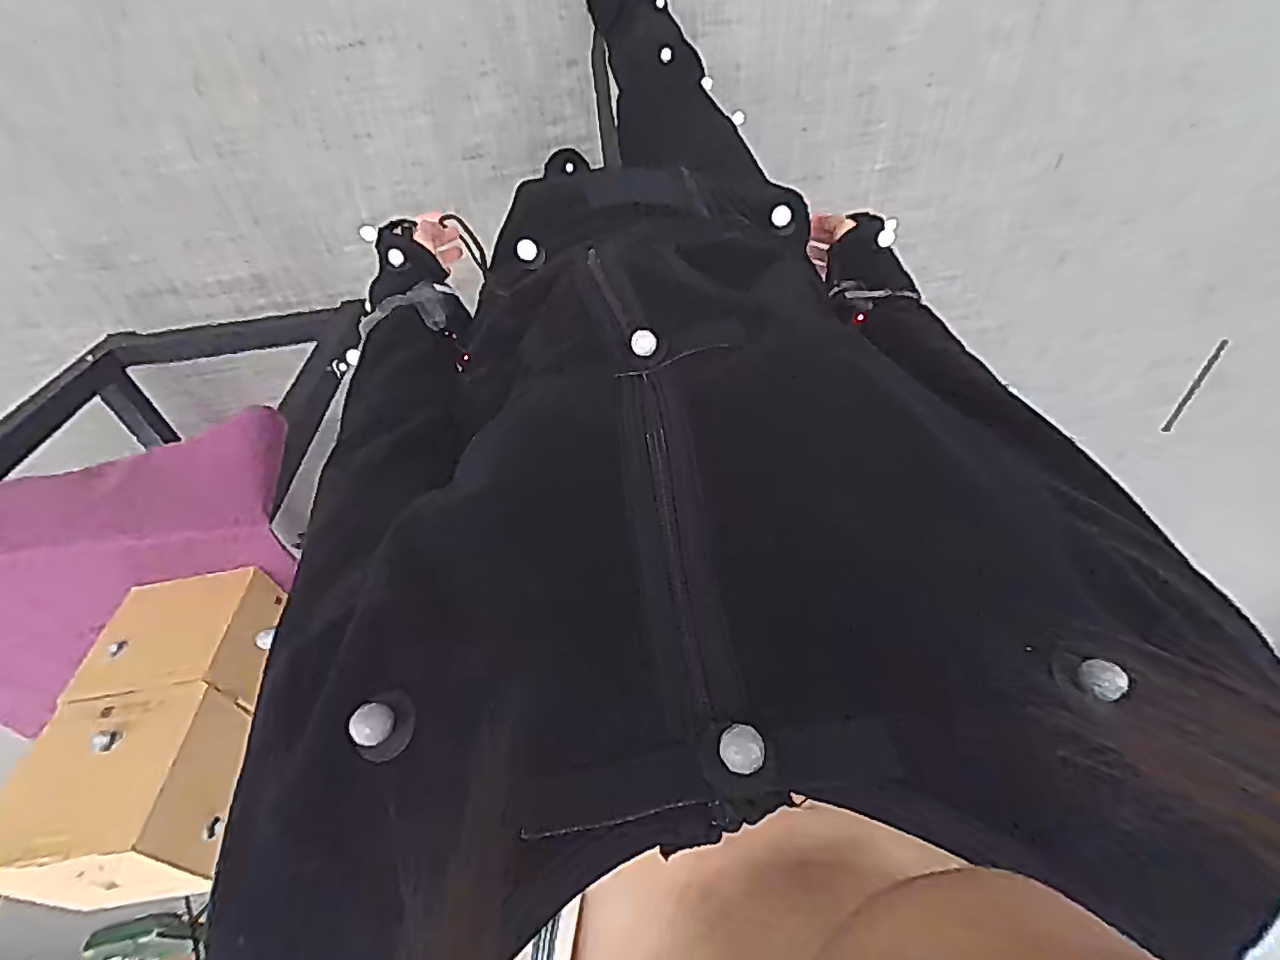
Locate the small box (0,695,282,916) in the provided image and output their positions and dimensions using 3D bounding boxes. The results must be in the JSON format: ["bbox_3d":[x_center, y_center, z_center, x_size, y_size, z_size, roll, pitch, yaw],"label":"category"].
[{"bbox_3d":[-0.555,0.370,0.620,0.168,0.176,0.179,-7,133,-4],"label":"small box"}]
